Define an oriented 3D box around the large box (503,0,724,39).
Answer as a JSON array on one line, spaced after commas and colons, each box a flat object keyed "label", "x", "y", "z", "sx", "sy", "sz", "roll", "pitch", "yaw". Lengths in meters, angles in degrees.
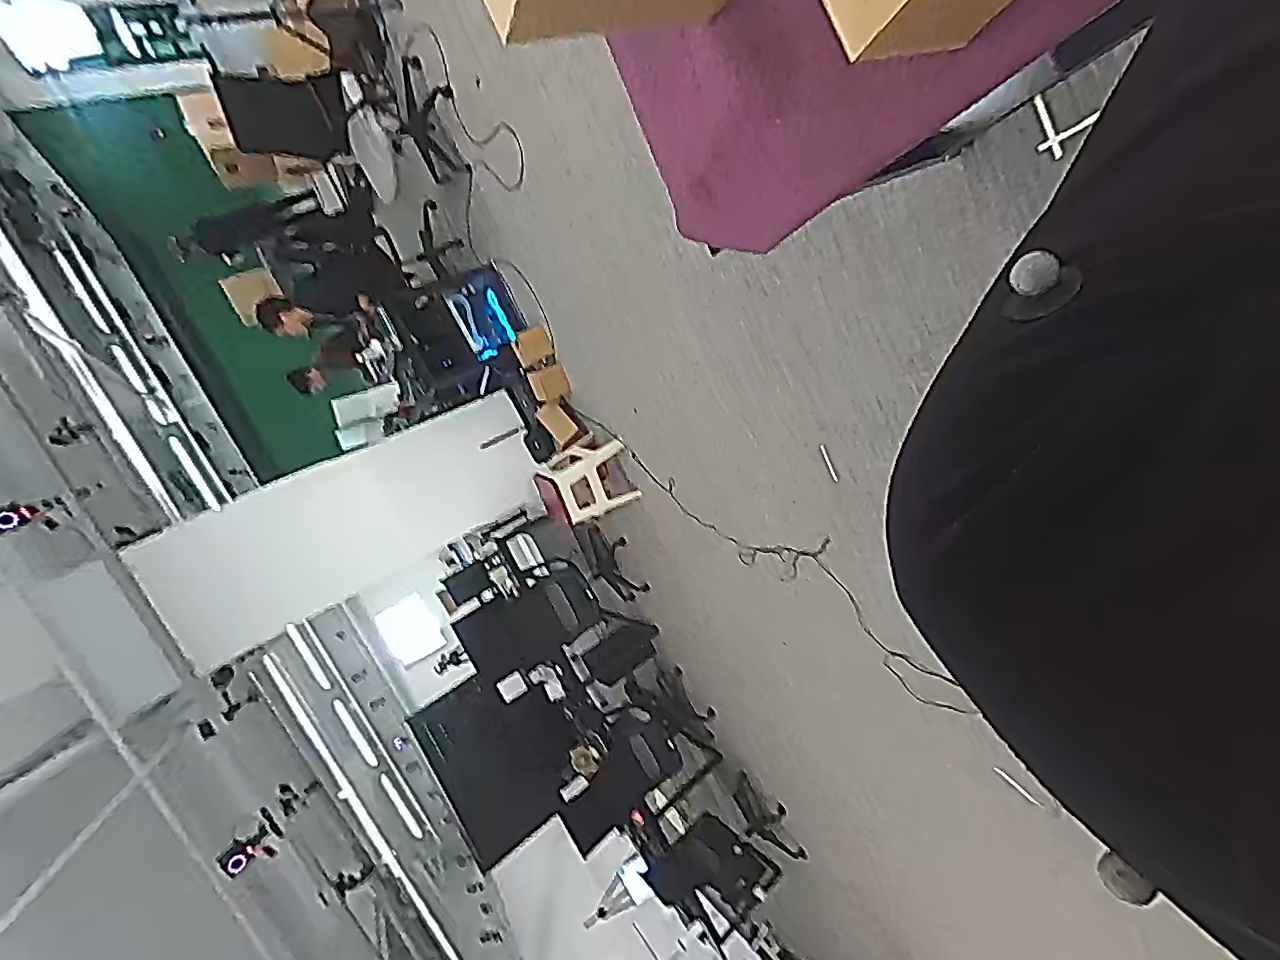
[{"label": "large box", "x": -0.037, "y": -0.723, "z": 0.477, "sx": 0.408, "sy": 0.320, "sz": 0.320, "roll": 61, "pitch": 155, "yaw": -9}]
